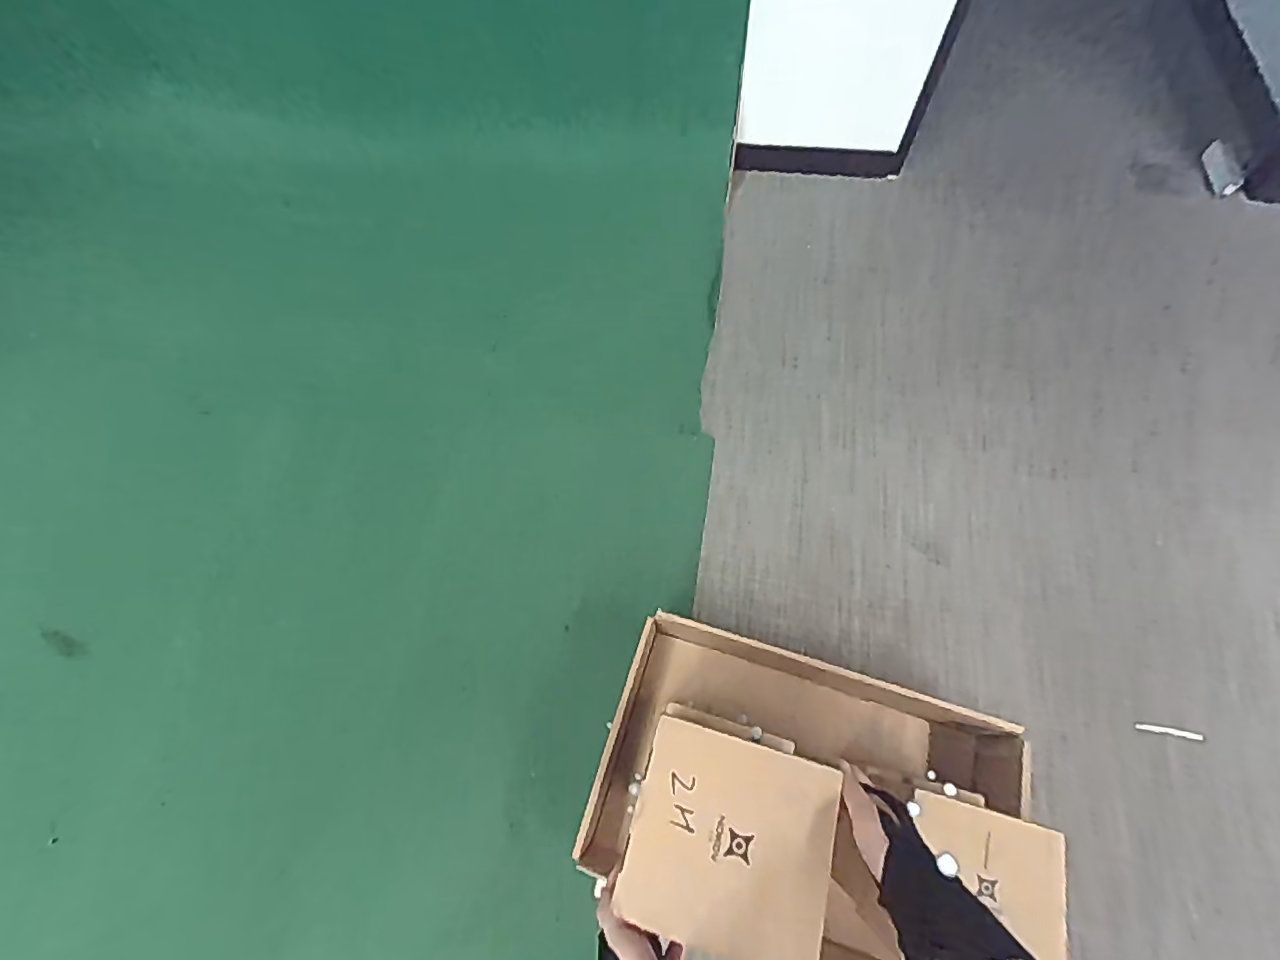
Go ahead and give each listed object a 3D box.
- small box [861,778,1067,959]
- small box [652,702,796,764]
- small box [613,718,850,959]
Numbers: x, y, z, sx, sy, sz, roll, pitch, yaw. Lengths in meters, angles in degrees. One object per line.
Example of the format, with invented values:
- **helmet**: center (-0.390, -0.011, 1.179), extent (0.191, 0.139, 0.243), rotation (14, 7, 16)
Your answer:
- **small box**: center (0.387, 0.494, 0.671), extent (0.168, 0.176, 0.179), rotation (13, 67, 10)
- **small box**: center (0.096, 0.414, 0.727), extent (0.168, 0.176, 0.179), rotation (15, 69, 9)
- **small box**: center (0.088, 0.349, 0.543), extent (0.179, 0.176, 0.168), rotation (14, 67, 11)
